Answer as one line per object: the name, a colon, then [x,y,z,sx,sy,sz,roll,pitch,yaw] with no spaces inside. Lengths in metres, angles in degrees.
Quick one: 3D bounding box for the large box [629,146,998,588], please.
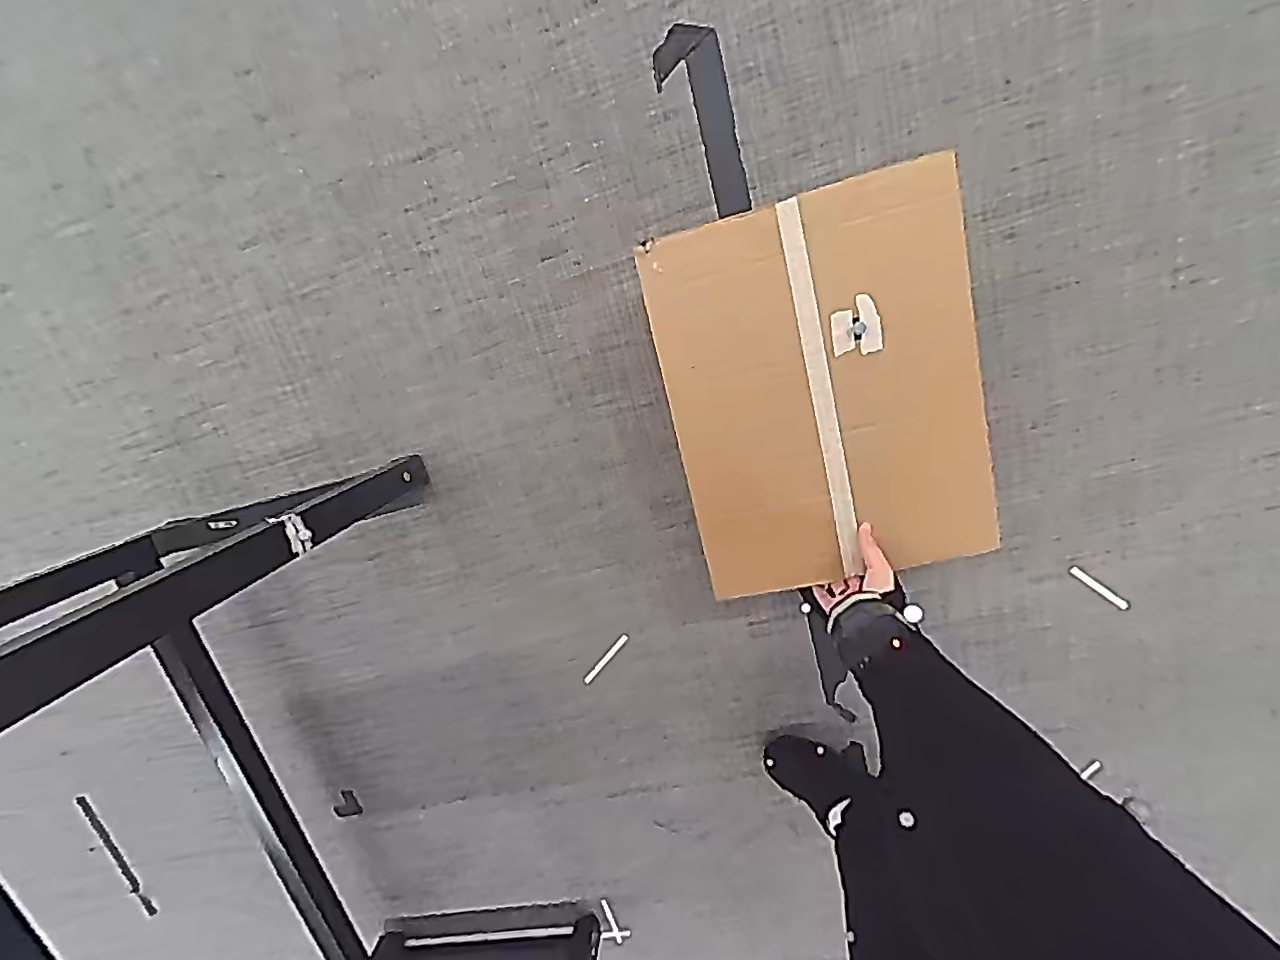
large box: [0.206,-0.124,0.711,0.320,0.320,0.408,-13,101,10]
